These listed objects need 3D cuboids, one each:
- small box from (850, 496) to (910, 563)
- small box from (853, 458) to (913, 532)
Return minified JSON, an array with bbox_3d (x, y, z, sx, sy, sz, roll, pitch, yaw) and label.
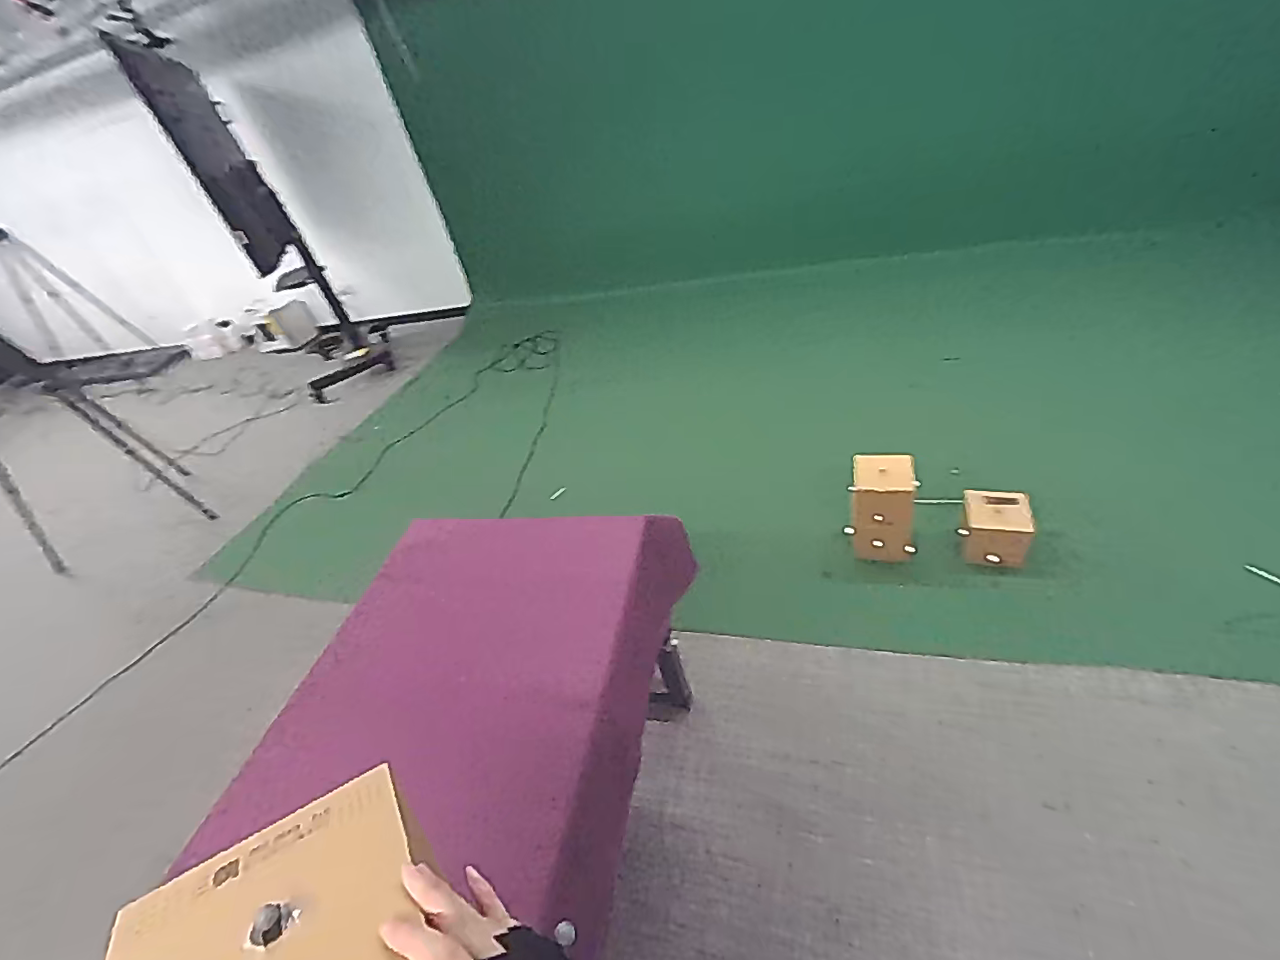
[{"bbox_3d":[0.817,0.170,1.852,0.179,0.176,0.168,0,40,22],"label":"small box"},{"bbox_3d":[0.781,0.047,1.750,0.168,0.176,0.179,0,41,21],"label":"small box"}]
